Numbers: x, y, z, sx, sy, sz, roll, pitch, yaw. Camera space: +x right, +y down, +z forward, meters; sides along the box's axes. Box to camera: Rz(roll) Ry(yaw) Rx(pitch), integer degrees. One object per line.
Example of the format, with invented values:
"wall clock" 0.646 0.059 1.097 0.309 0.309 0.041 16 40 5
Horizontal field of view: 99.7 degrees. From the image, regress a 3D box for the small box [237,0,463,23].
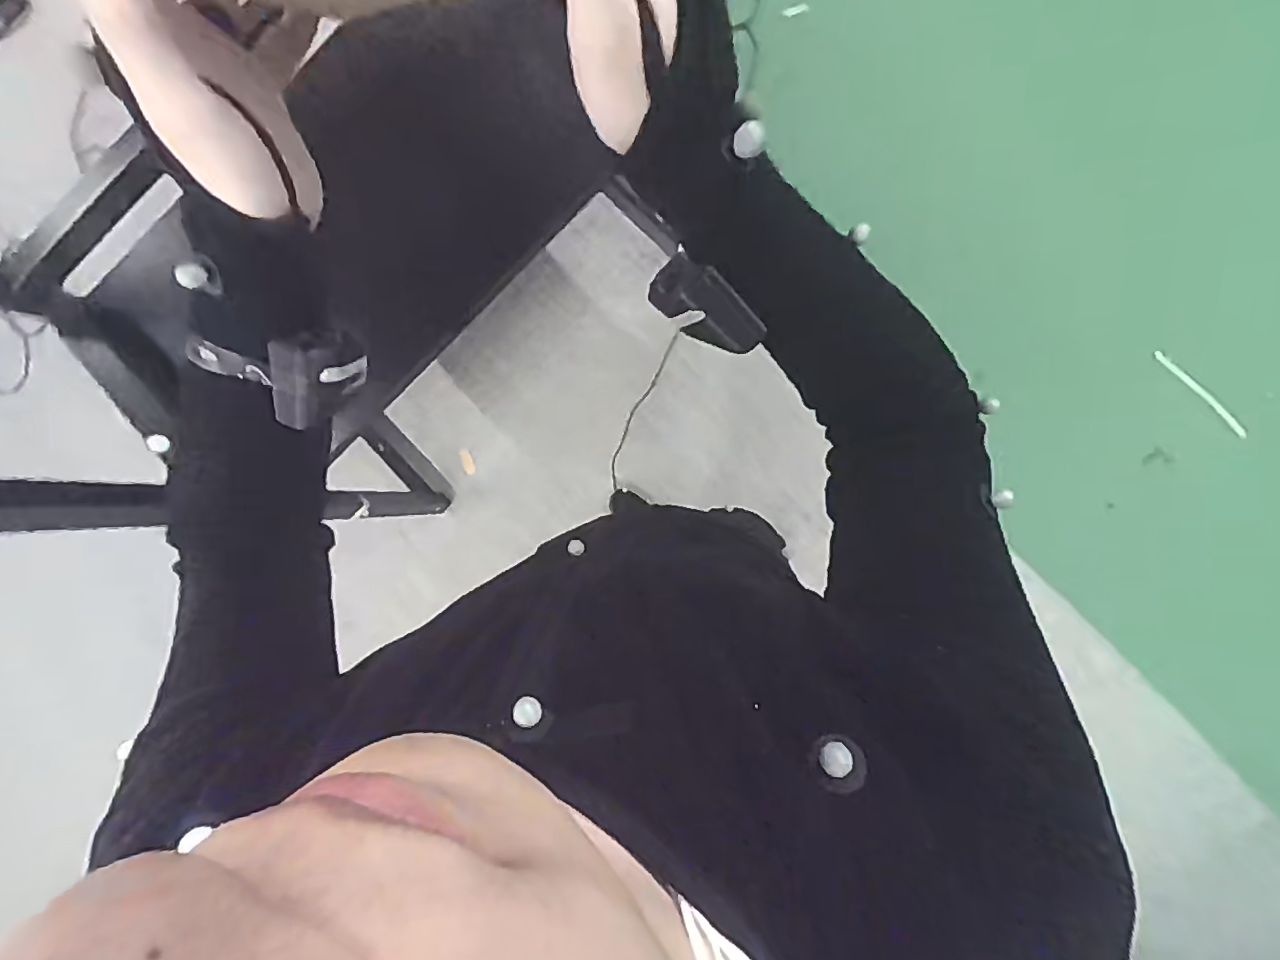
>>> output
"small box" -0.114 -0.310 0.212 0.179 0.176 0.168 -7 123 10
